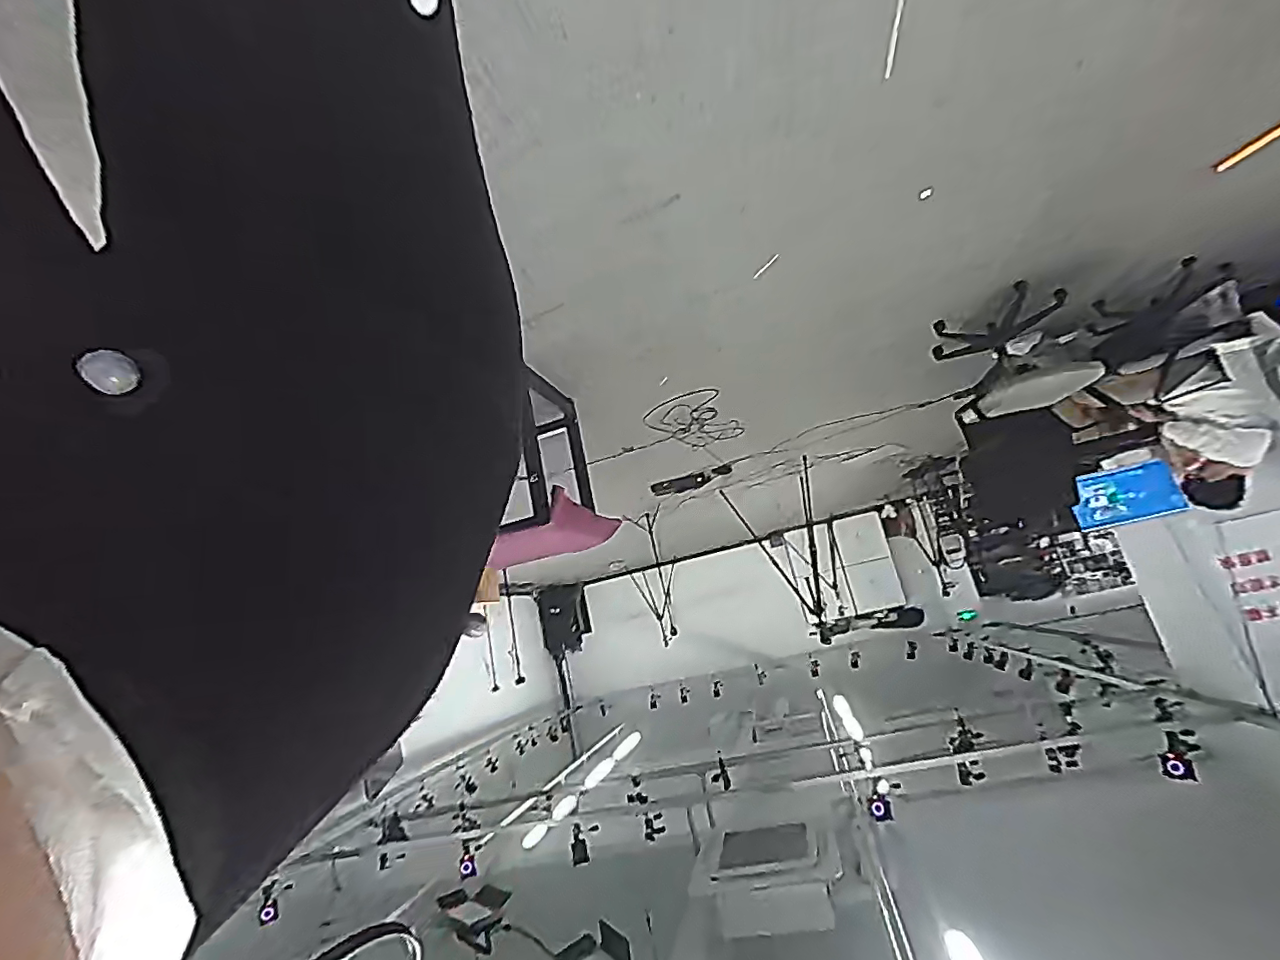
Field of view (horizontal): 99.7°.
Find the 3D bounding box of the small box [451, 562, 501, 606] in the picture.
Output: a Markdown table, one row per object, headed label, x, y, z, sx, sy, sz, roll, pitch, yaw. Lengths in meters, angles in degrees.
| label | x | y | z | sx | sy | sz | roll | pitch | yaw |
| --- | --- | --- | --- | --- | --- | --- | --- | --- | --- |
| small box | -0.762 | 0.479 | 2.493 | 0.168 | 0.176 | 0.179 | -15 | 165 | 10 |
